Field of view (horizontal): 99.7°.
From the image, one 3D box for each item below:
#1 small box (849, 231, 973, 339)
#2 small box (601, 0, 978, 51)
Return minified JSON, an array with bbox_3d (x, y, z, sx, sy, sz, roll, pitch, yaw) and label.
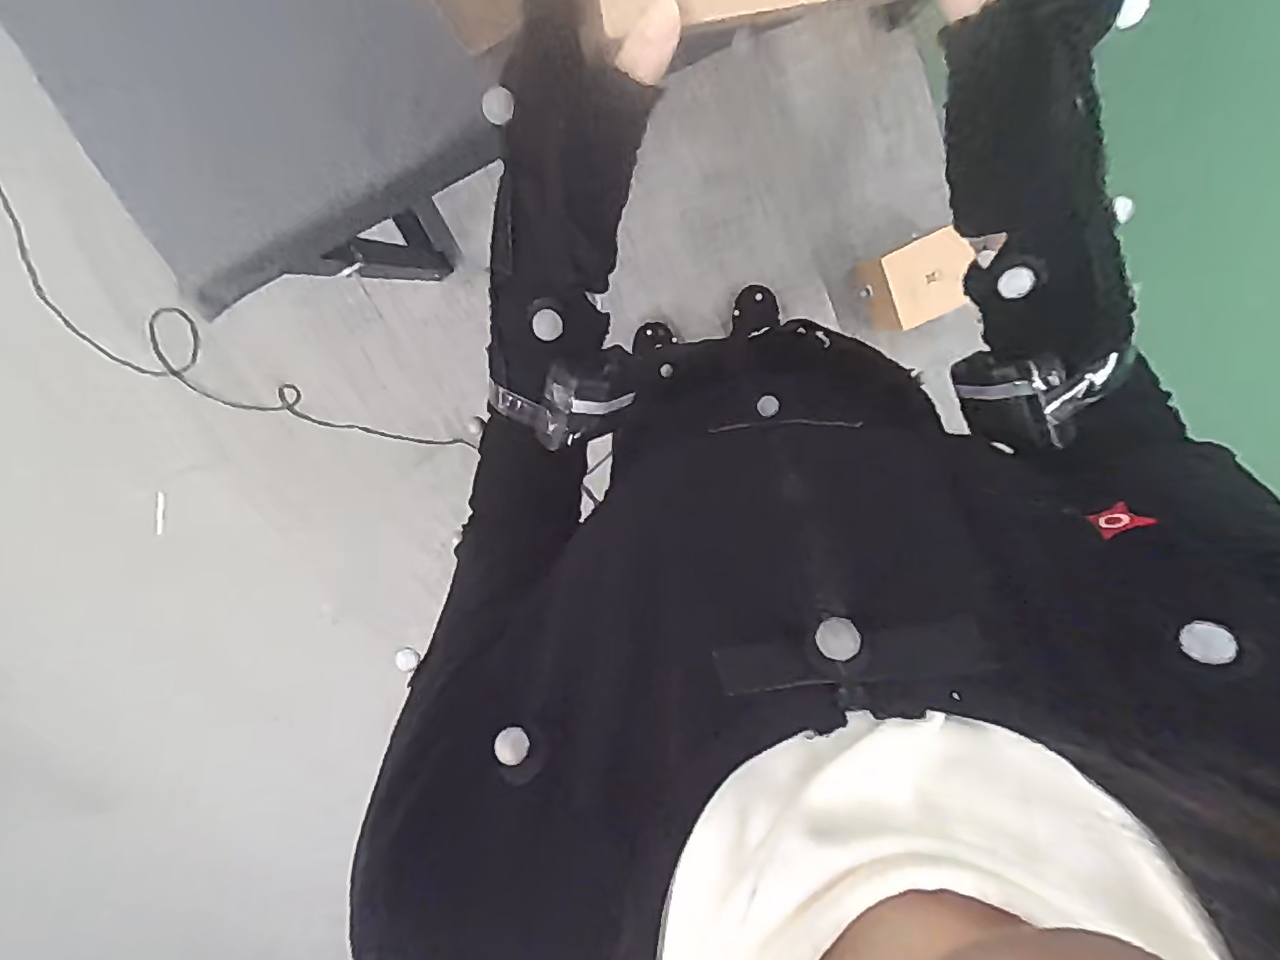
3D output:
[{"bbox_3d":[0.600,-0.433,1.215,0.179,0.176,0.168,-24,105,10],"label":"small box"},{"bbox_3d":[0.057,-0.300,0.225,0.168,0.176,0.179,-5,128,3],"label":"small box"}]
